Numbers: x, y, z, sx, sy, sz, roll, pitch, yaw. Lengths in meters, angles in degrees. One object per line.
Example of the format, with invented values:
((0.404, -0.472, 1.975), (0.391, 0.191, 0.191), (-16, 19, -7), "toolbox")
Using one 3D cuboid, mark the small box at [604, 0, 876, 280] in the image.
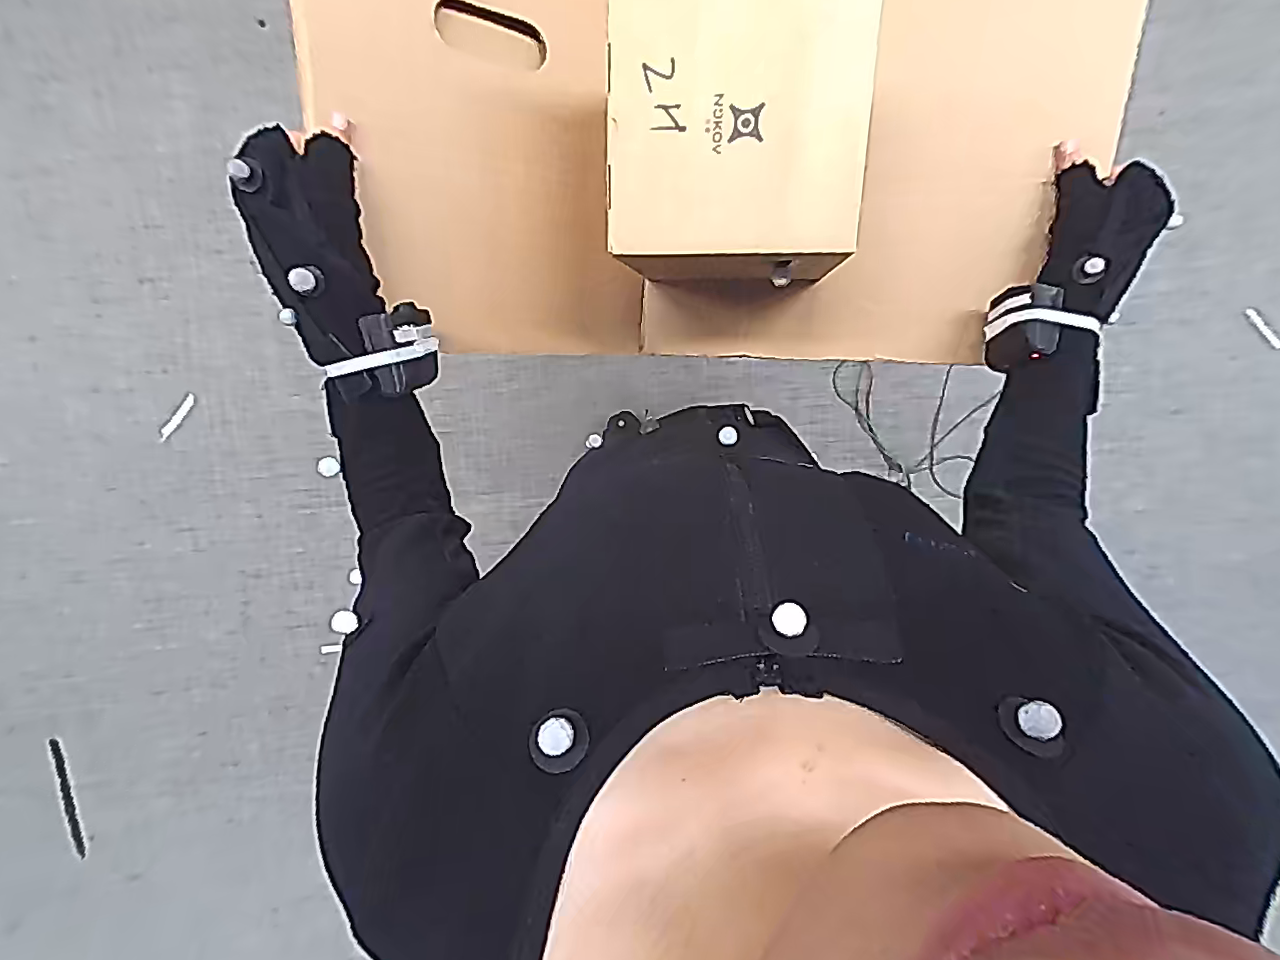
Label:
((0.075, -0.263, 0.446), (0.179, 0.176, 0.168), (4, 105, 10), "small box")
